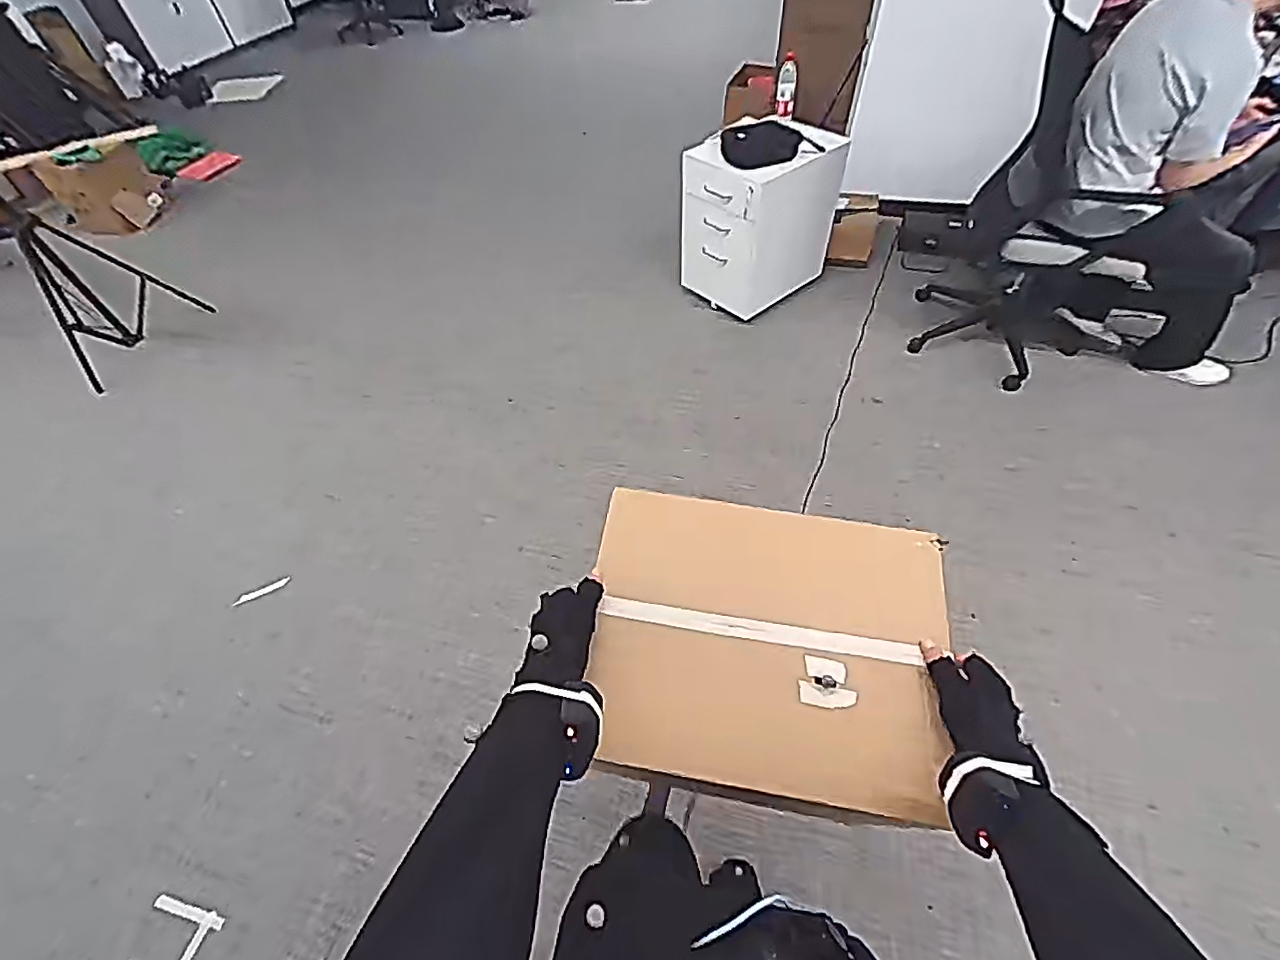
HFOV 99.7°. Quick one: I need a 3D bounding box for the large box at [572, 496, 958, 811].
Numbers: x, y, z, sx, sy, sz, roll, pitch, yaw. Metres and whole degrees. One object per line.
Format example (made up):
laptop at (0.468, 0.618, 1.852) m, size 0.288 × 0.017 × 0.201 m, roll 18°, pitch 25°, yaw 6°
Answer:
large box at (0.143, 0.249, 0.753) m, size 0.408 × 0.320 × 0.320 m, roll 8°, pitch 61°, yaw 5°
